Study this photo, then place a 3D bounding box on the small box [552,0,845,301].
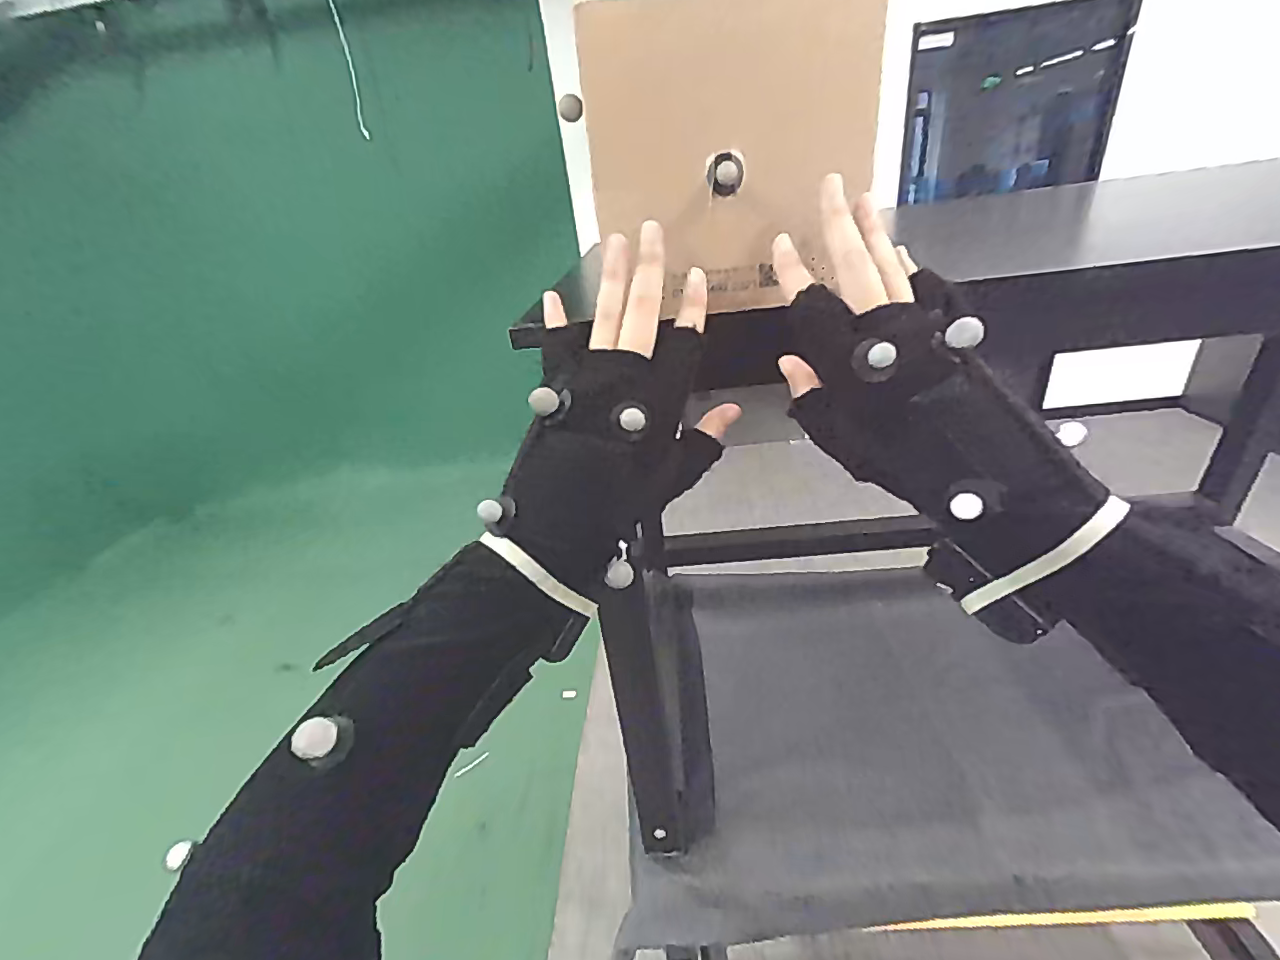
[{"bbox_3d":[0.041,-0.233,0.397,0.168,0.176,0.179,-5,28,2],"label":"small box"}]
